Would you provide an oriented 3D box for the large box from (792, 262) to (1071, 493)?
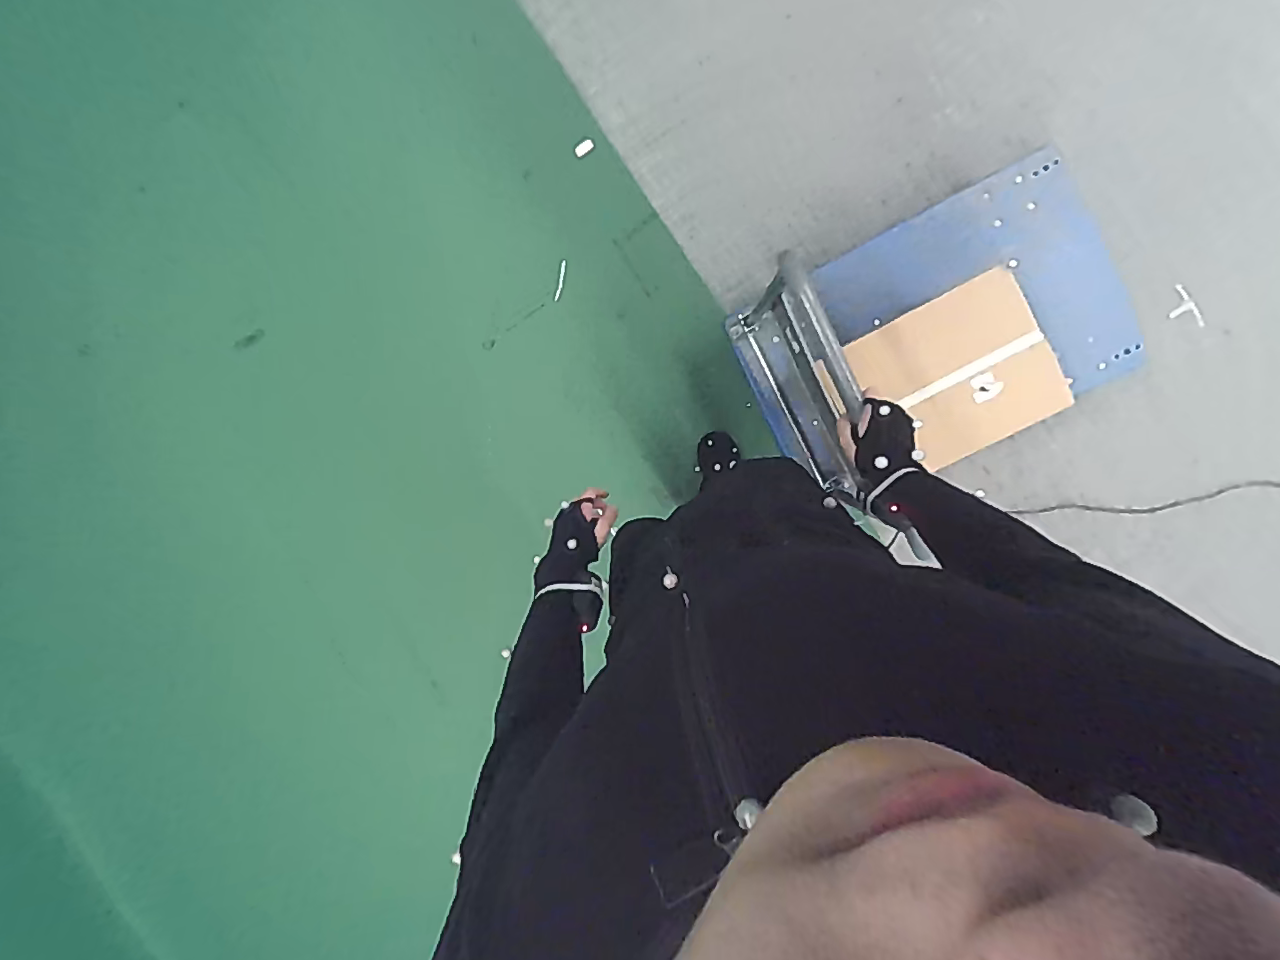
[{"bbox_3d":[0.615,-0.211,1.223,0.408,0.320,0.320,-28,93,8],"label":"large box"}]
